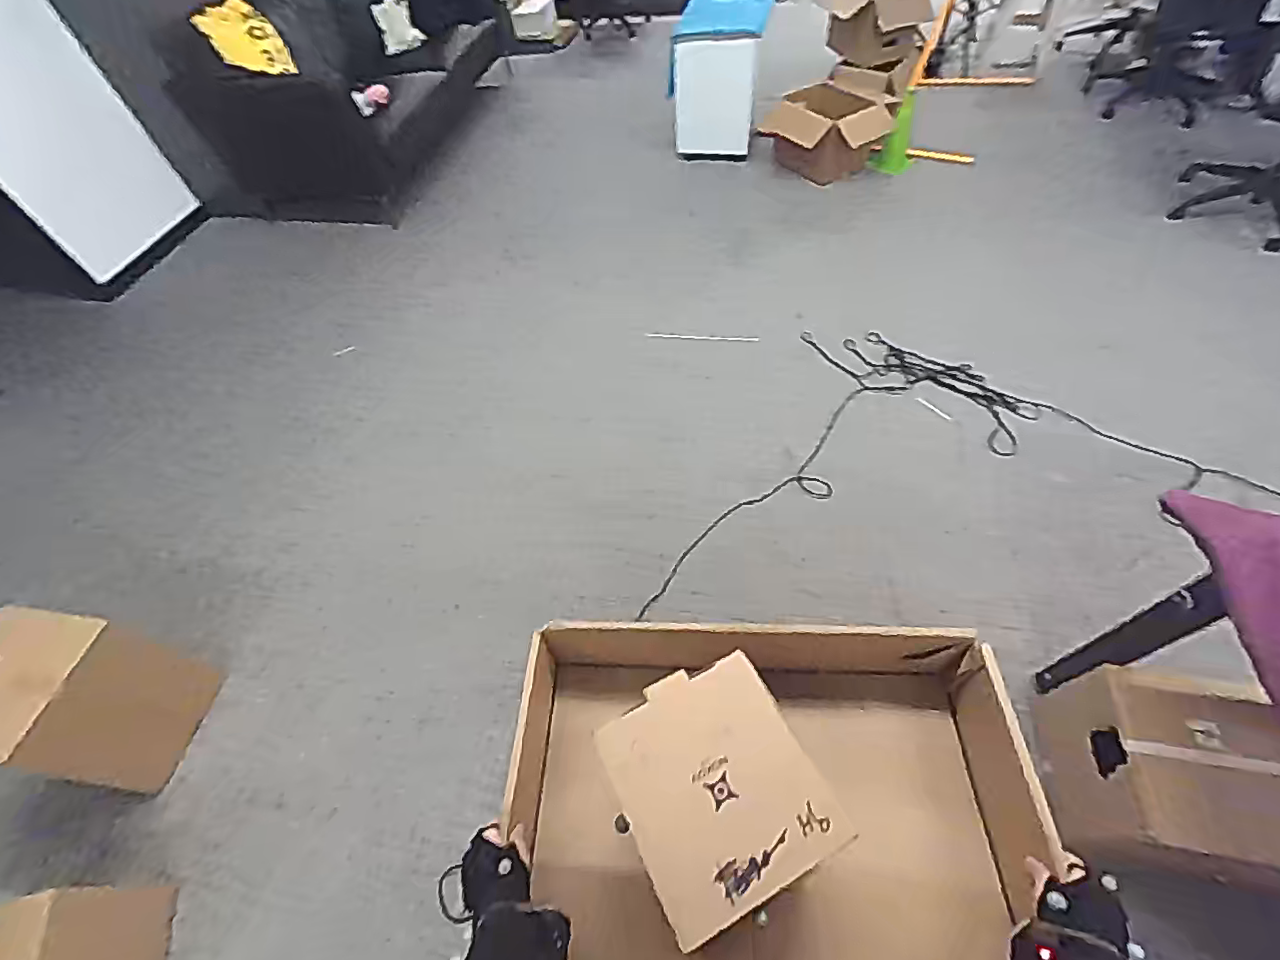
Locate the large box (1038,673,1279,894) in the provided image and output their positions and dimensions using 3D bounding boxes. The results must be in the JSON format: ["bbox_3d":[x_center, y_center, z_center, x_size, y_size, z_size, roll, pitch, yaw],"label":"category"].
[{"bbox_3d":[1.117,0.609,1.079,0.408,0.320,0.320,5,54,12],"label":"large box"}]

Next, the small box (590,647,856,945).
[{"bbox_3d":[0.067,0.299,0.520,0.168,0.176,0.179,-24,54,-13],"label":"small box"}]
